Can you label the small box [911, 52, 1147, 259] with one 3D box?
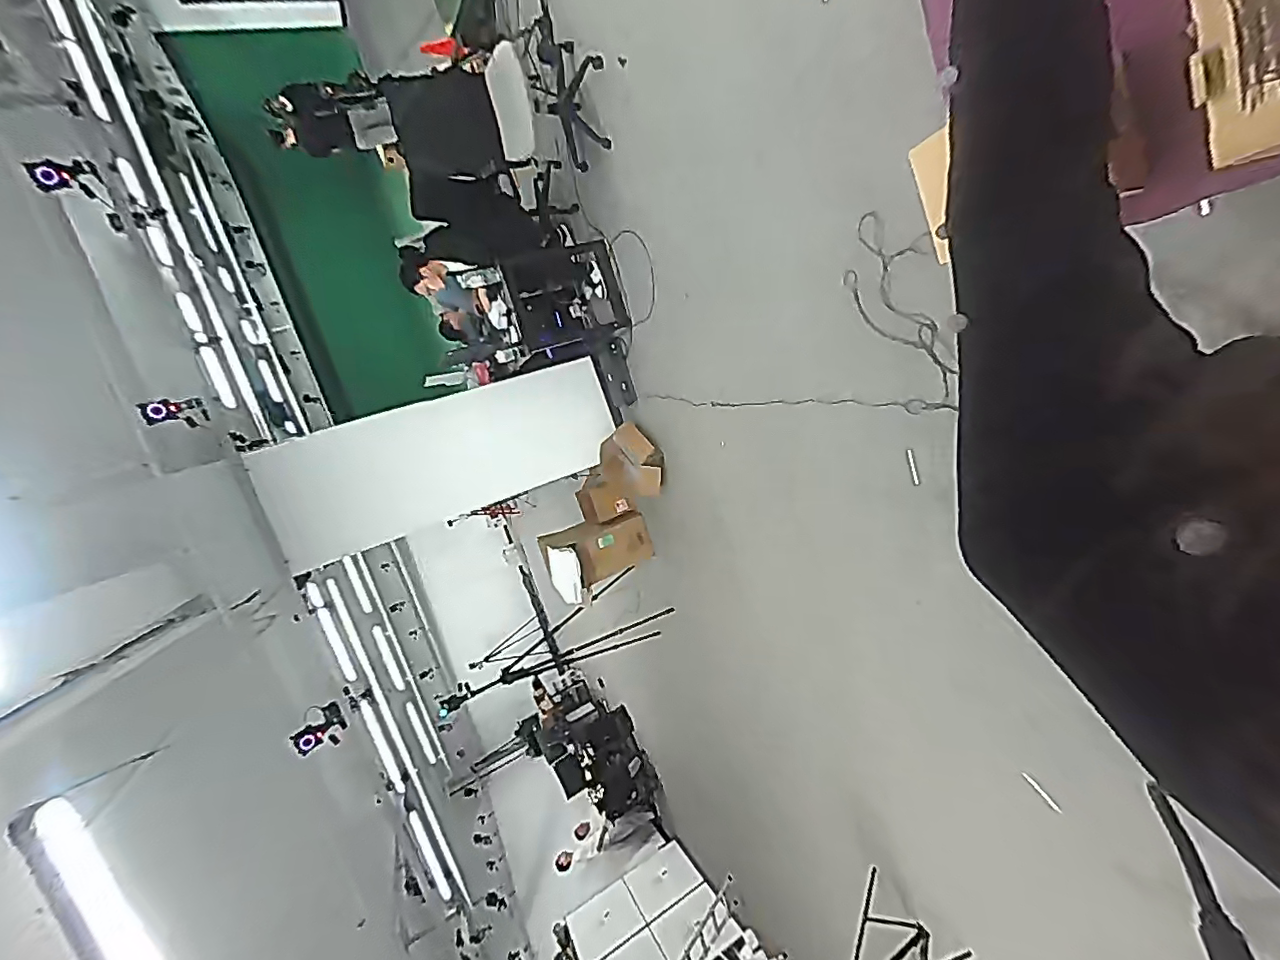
[{"bbox_3d":[0.504,-0.417,0.711,0.179,0.176,0.168,-7,104,66],"label":"small box"}]
